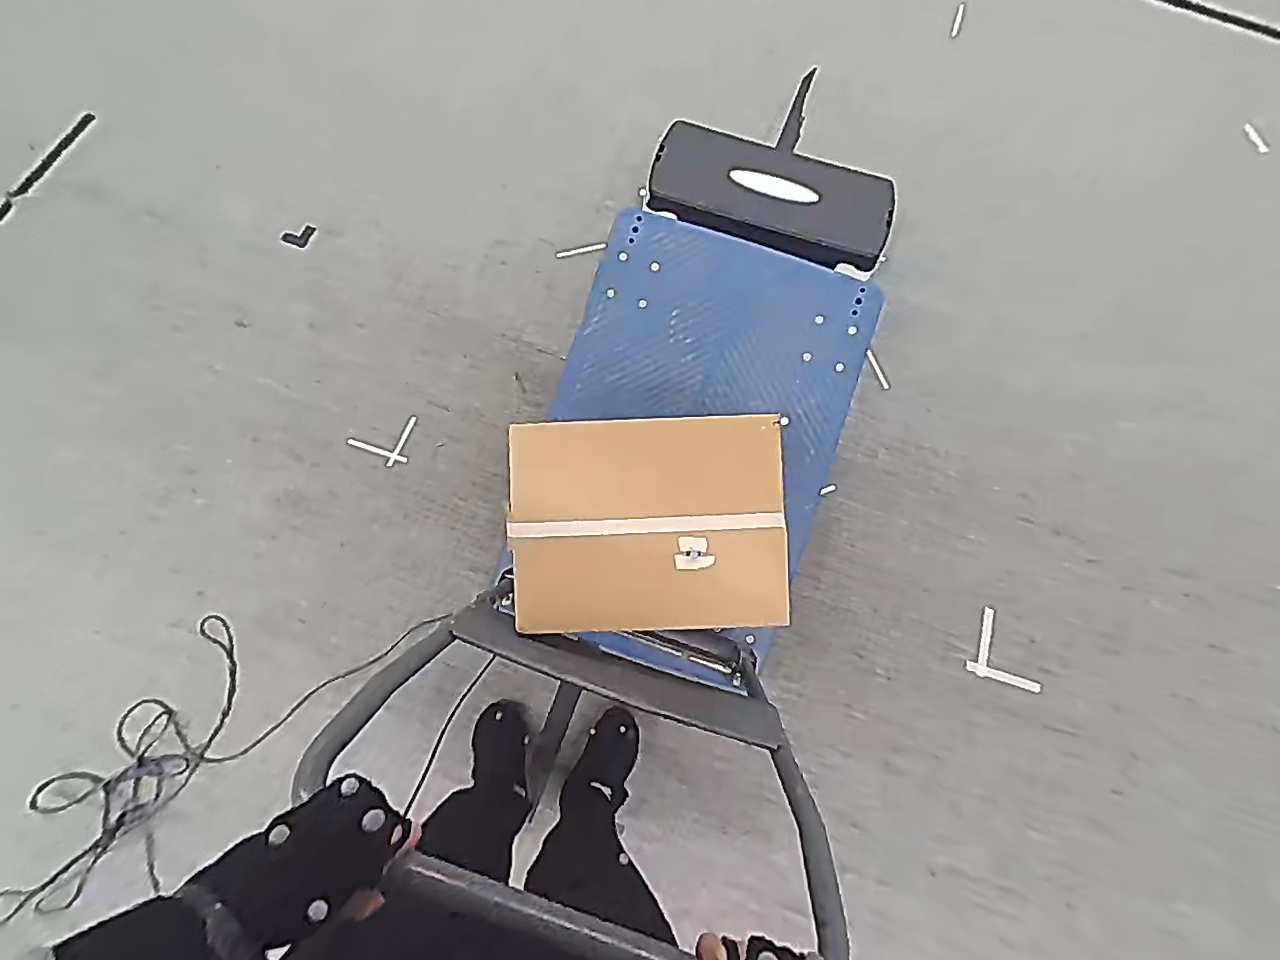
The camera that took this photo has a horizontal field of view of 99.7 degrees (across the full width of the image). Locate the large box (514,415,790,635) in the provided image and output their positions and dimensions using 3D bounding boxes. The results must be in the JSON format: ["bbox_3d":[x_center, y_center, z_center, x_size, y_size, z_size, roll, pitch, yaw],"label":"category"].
[{"bbox_3d":[0.016,0.072,0.953,0.408,0.320,0.320,-2,89,0],"label":"large box"}]
